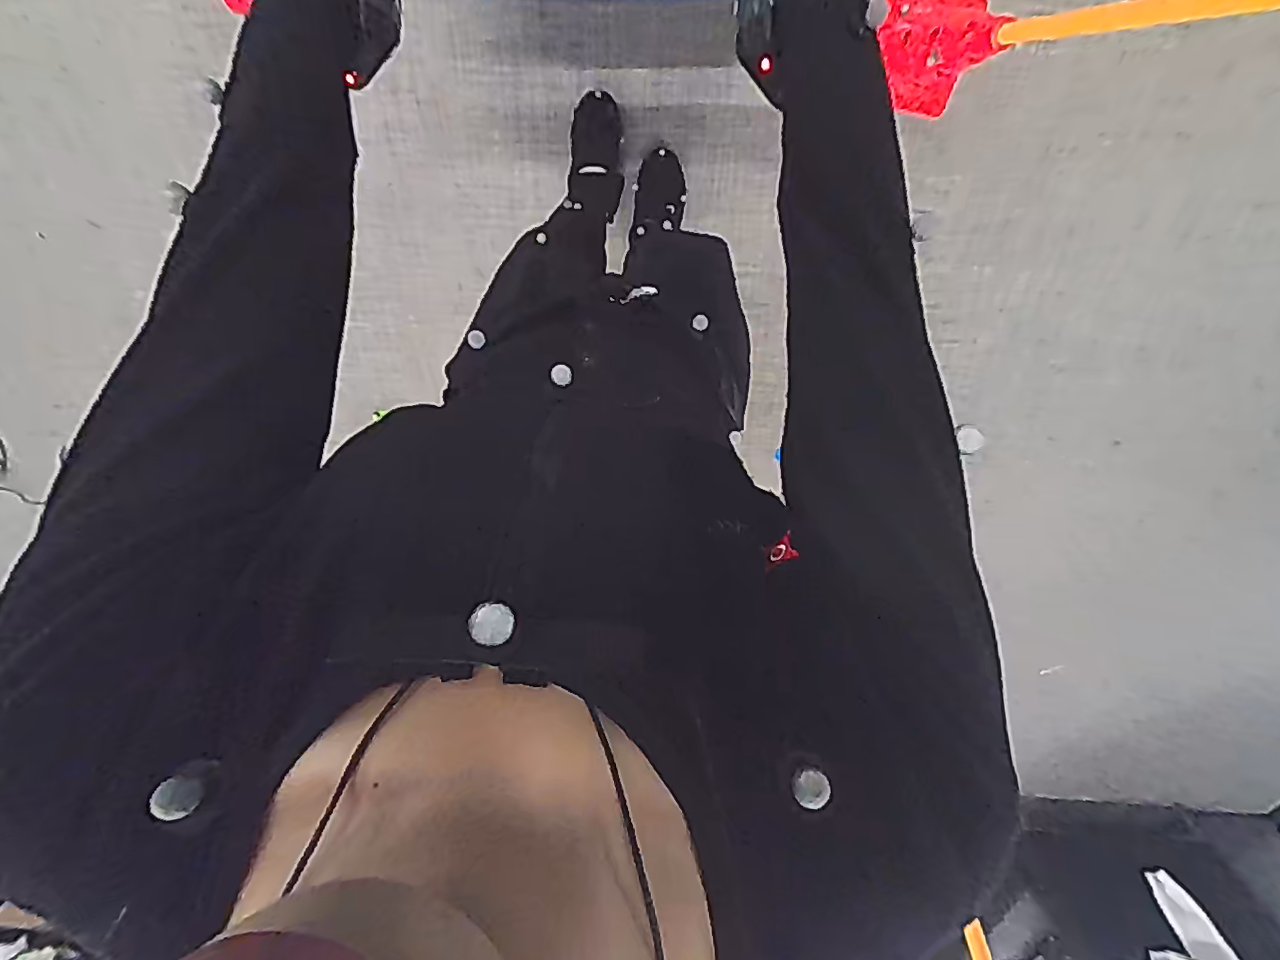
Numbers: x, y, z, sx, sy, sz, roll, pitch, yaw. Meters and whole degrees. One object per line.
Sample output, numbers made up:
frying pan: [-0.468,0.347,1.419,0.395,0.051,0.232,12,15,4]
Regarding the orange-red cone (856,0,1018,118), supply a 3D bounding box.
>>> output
orange-red cone: [0.547,-0.756,0.936,0.198,0.360,0.199,11,126,-4]
